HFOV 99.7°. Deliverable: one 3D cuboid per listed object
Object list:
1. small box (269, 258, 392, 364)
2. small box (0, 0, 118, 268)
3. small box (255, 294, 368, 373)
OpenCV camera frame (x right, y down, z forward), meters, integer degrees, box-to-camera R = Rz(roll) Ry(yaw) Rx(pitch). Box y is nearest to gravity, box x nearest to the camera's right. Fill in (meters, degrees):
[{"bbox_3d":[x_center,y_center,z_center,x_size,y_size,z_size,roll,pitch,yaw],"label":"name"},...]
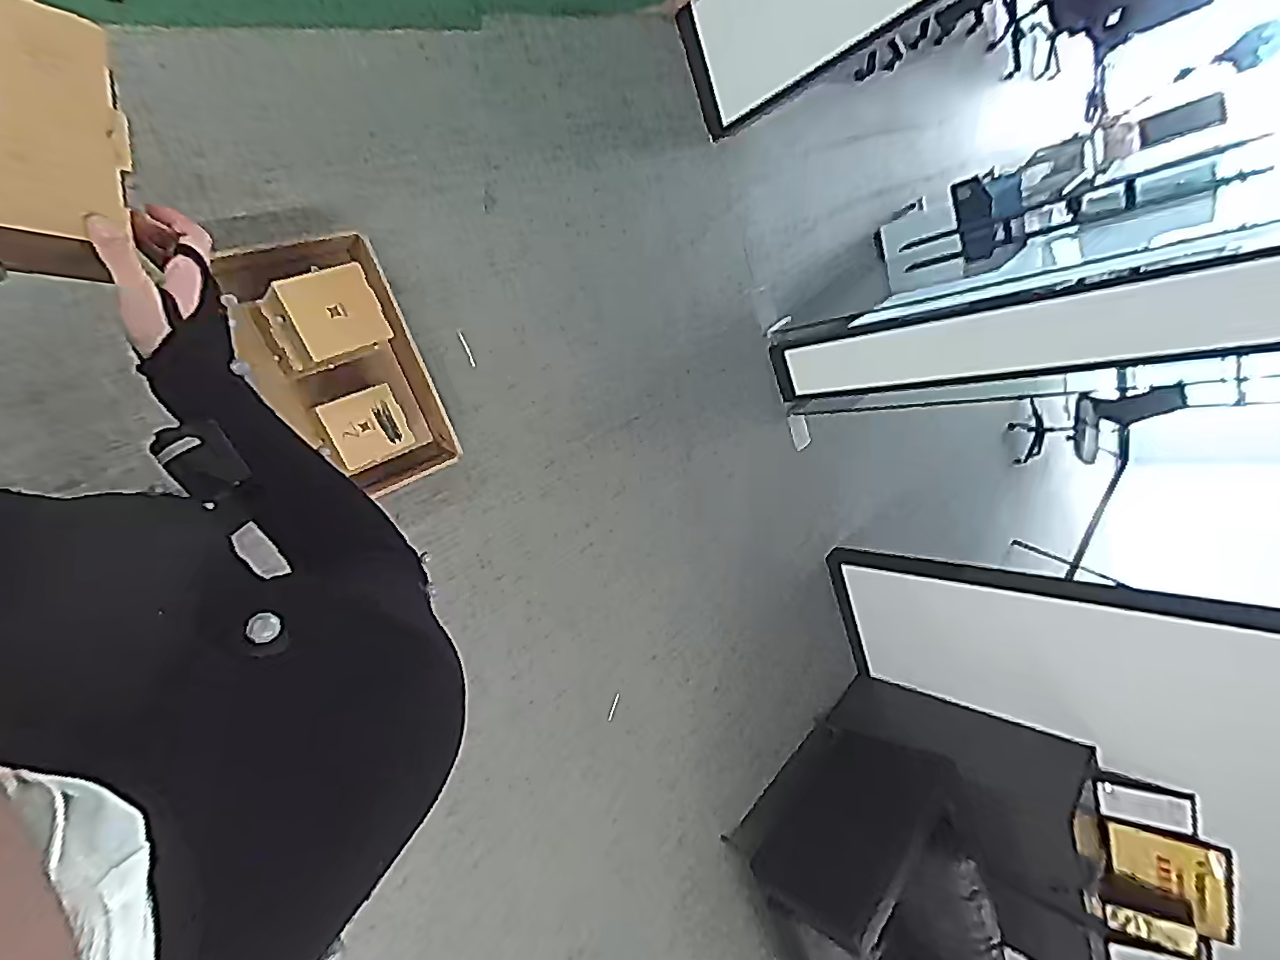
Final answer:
[{"bbox_3d":[-0.682,-0.364,1.184,0.179,0.176,0.168,-34,114,-33],"label":"small box"},{"bbox_3d":[-0.531,-0.271,0.410,0.179,0.176,0.168,-8,99,-45],"label":"small box"},{"bbox_3d":[-0.794,-0.366,1.301,0.179,0.176,0.168,-32,114,-34],"label":"small box"}]
